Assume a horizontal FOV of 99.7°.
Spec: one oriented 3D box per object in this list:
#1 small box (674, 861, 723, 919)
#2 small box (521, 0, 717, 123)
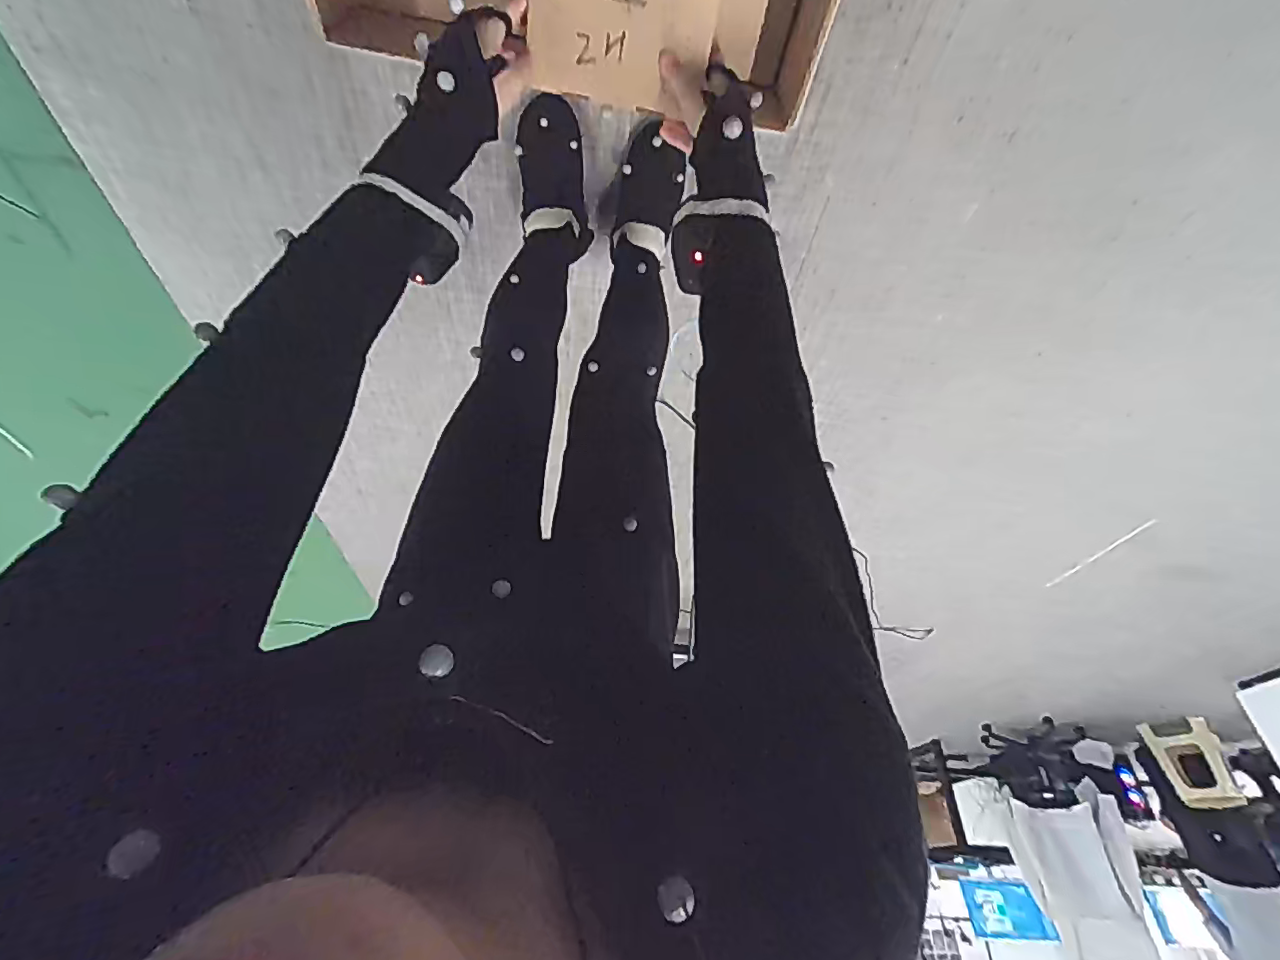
[{"bbox_3d":[0.218,1.564,2.069,0.168,0.176,0.179,4,144,-1],"label":"small box"},{"bbox_3d":[-0.018,-0.472,0.524,0.168,0.176,0.179,8,126,-9],"label":"small box"}]
